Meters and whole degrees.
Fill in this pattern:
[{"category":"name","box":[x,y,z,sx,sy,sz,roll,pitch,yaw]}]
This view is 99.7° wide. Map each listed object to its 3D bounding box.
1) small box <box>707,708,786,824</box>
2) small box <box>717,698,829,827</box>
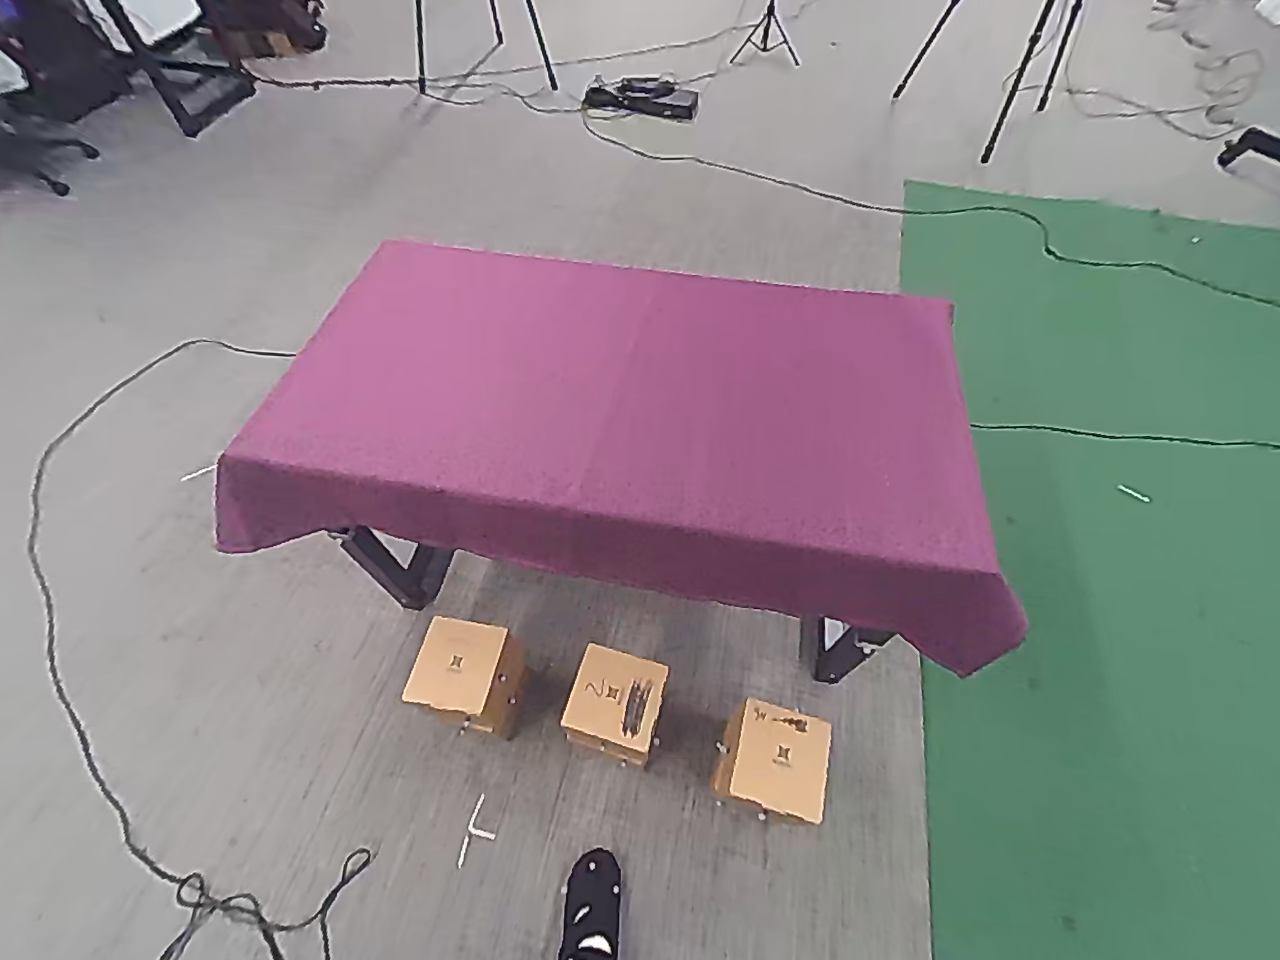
[{"category":"small box","box":[0.254,0.643,1.209,0.168,0.176,0.179,19,58,12]},{"category":"small box","box":[0.256,0.557,1.066,0.168,0.176,0.179,17,59,8]}]
